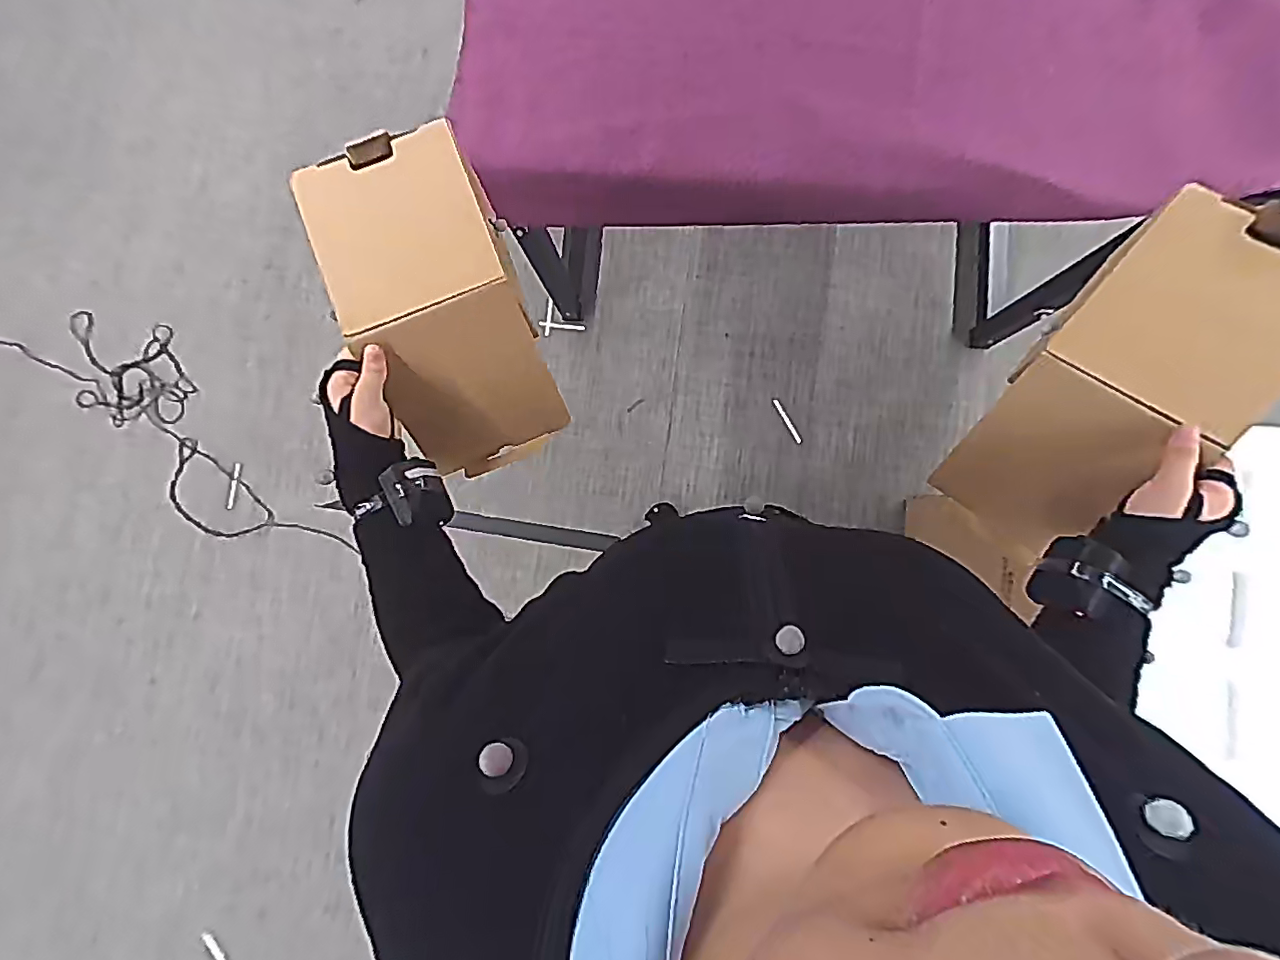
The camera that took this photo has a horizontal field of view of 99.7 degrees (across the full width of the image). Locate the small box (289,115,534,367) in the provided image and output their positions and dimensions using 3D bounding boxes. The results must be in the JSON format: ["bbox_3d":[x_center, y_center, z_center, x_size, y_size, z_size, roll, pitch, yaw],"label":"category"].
[{"bbox_3d":[-0.231,-0.239,0.594,0.168,0.176,0.179,-21,85,-2],"label":"small box"}]
